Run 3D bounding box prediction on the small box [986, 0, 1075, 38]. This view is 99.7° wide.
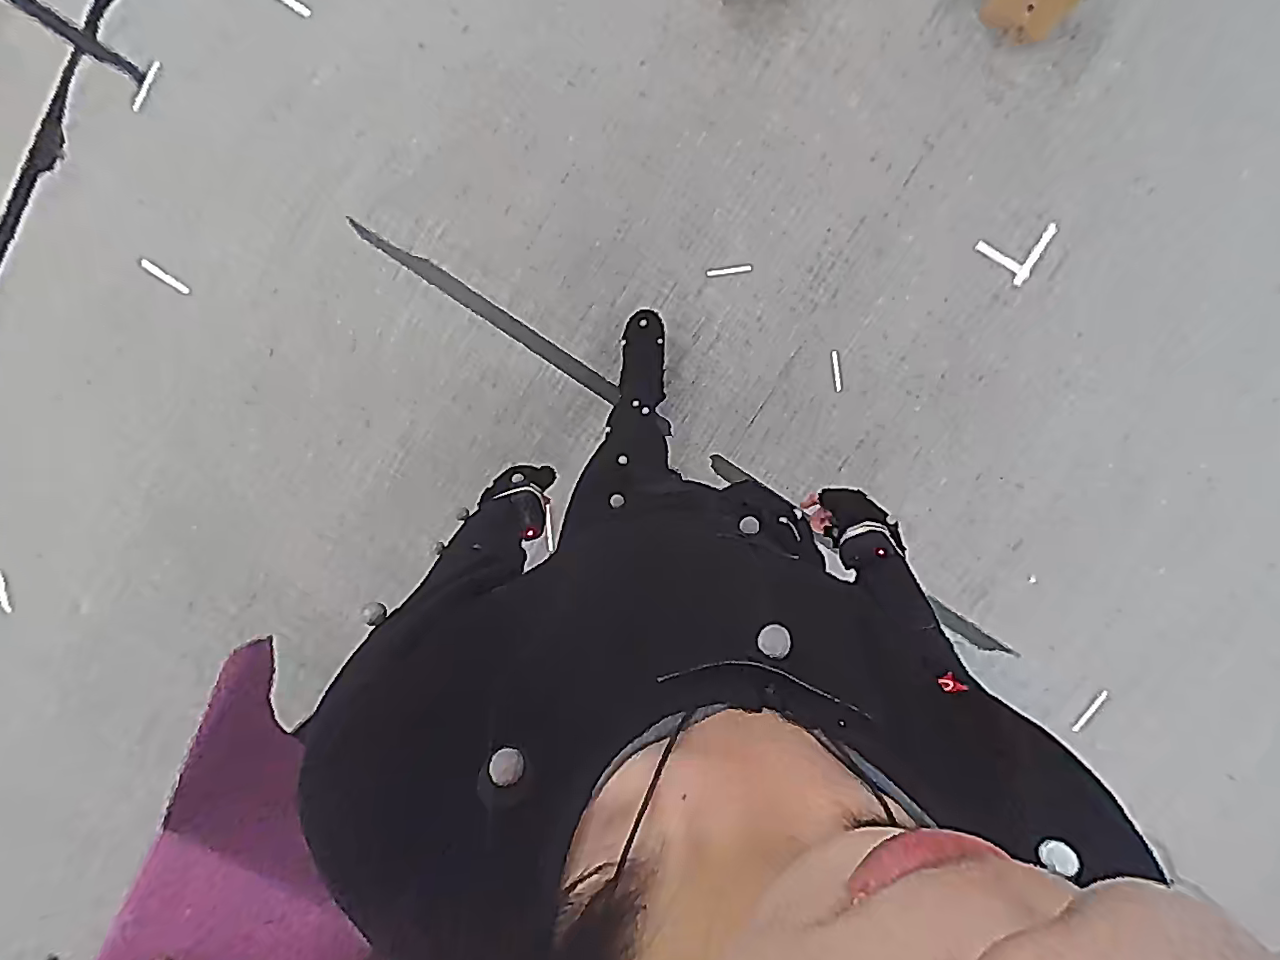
[{"bbox_3d":[0.955,-1.198,1.262,0.168,0.176,0.179,25,98,-1],"label":"small box"}]
